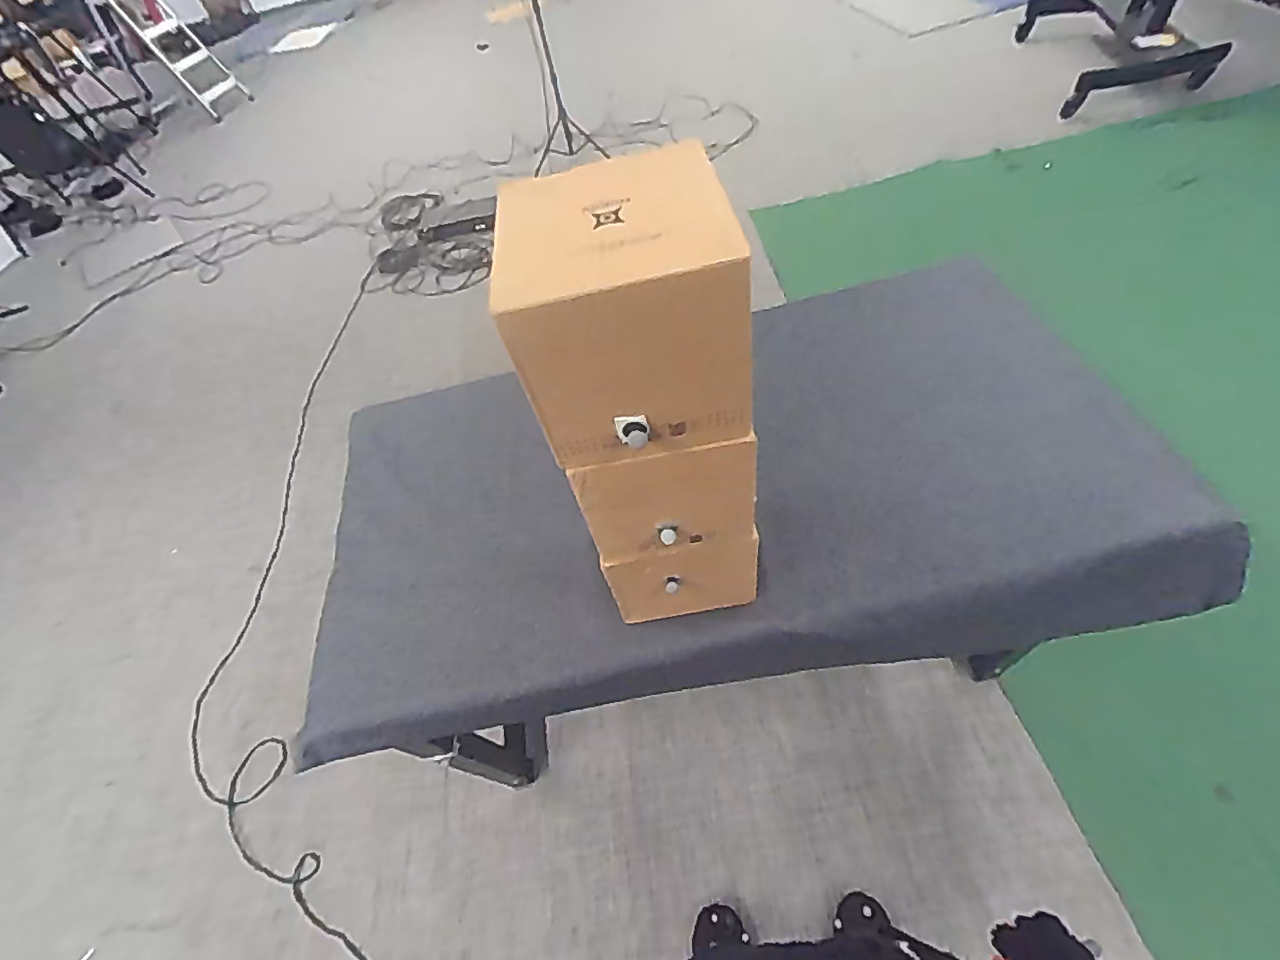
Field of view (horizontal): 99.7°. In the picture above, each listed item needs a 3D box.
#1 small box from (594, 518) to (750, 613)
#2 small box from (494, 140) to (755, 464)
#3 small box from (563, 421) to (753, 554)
[{"bbox_3d":[0.041,0.058,0.700,0.179,0.176,0.168,-10,53,3],"label":"small box"},{"bbox_3d":[-0.008,-0.140,0.445,0.168,0.176,0.179,-11,54,3],"label":"small box"},{"bbox_3d":[0.019,-0.044,0.572,0.168,0.176,0.179,-9,54,4],"label":"small box"}]
